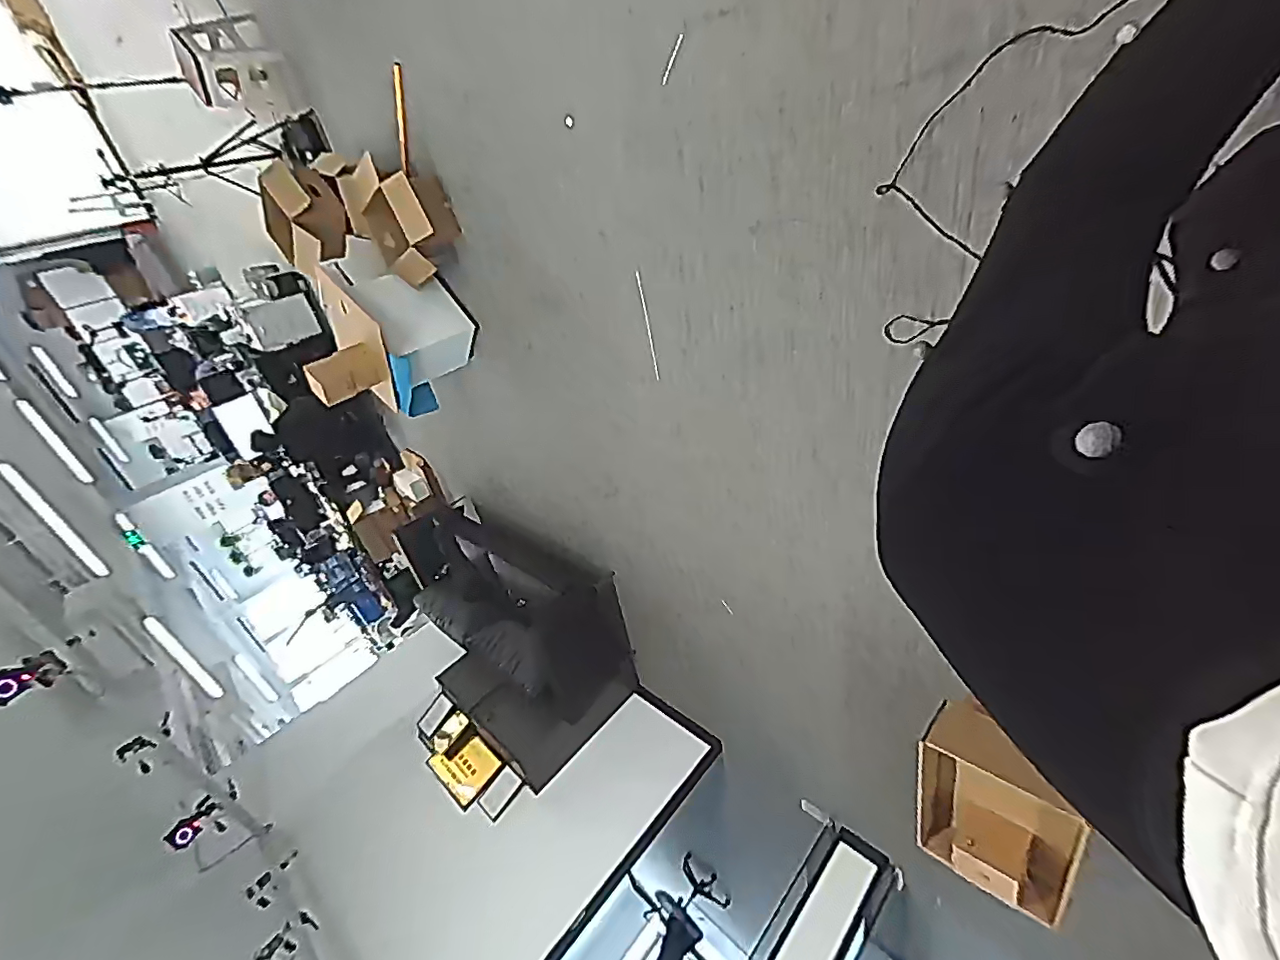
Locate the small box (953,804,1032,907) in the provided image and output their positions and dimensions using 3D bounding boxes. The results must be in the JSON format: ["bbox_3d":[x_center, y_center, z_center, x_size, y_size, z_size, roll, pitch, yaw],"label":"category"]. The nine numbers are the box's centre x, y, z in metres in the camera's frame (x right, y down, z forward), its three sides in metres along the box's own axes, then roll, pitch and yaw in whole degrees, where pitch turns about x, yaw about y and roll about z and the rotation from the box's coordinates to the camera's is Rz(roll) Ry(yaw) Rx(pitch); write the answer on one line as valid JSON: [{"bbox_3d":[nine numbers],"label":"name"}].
[{"bbox_3d":[1.108,1.171,1.700,0.179,0.176,0.168,12,130,45],"label":"small box"}]
